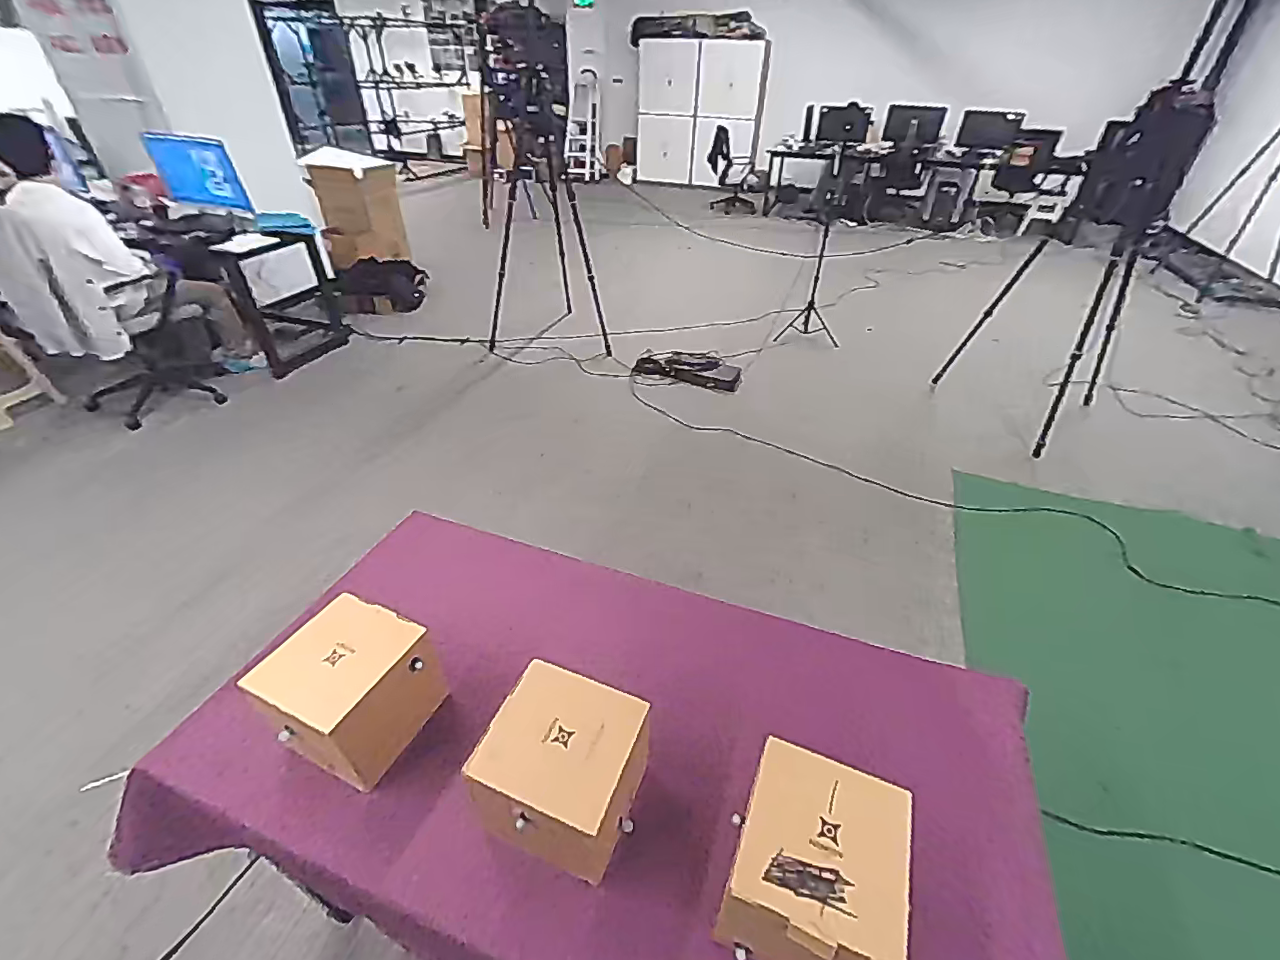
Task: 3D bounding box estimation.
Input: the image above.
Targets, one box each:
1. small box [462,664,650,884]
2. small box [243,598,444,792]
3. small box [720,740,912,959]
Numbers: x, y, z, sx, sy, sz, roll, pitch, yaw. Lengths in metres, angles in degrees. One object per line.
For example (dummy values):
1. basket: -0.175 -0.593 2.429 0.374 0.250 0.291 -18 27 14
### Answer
1. small box: -0.098 0.380 0.703 0.179 0.176 0.168 15 39 18
2. small box: -0.414 0.312 0.790 0.168 0.176 0.179 16 38 19
3. small box: 0.194 0.446 0.615 0.168 0.176 0.179 15 38 18
